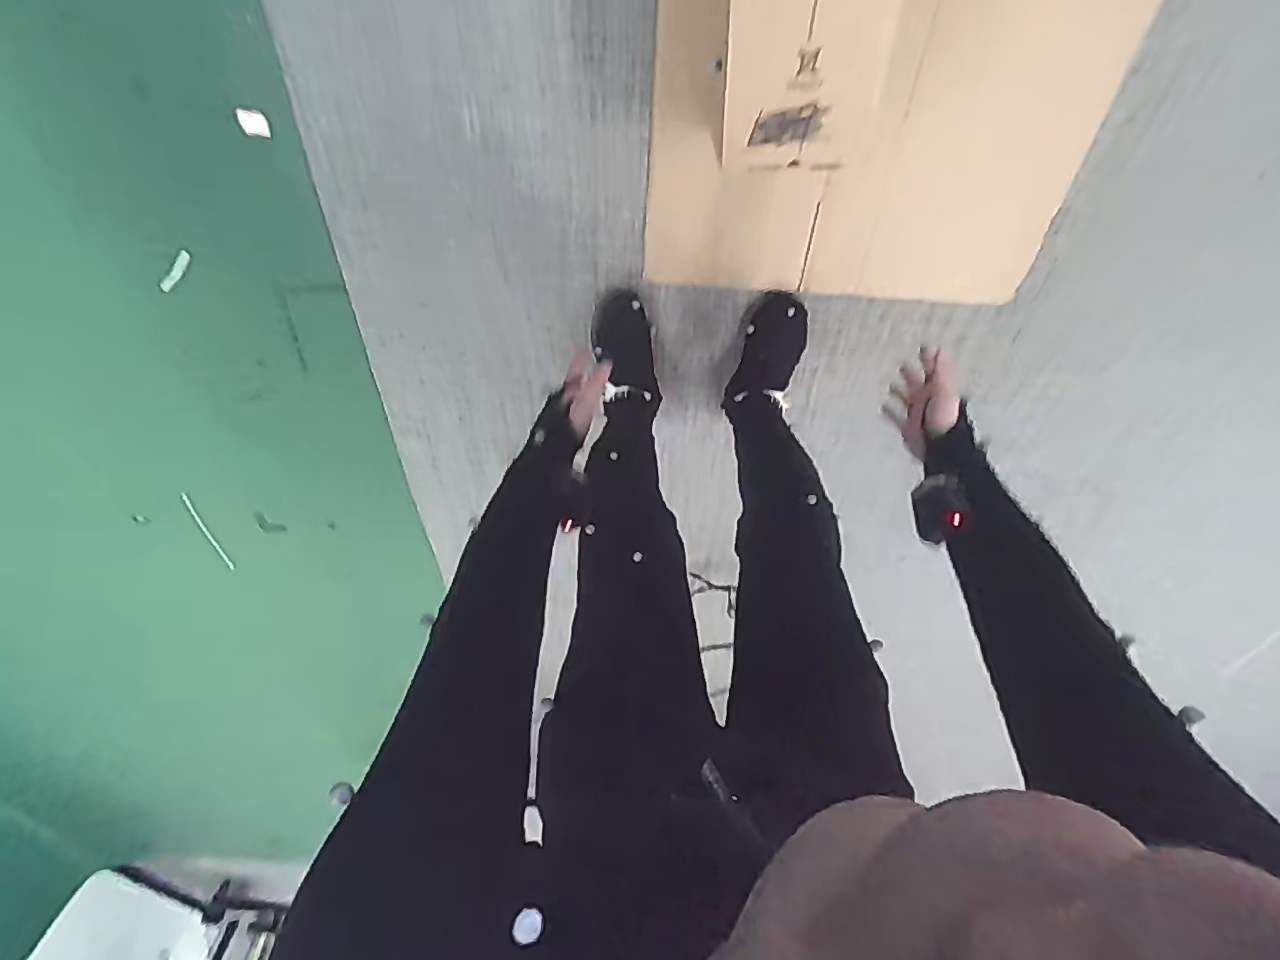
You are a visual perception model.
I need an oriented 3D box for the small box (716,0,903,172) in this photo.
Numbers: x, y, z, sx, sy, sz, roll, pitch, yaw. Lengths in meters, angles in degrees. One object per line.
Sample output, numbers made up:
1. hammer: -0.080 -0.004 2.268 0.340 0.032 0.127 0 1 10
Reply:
1. small box: 0.176 -0.466 0.616 0.168 0.176 0.179 1 129 4
